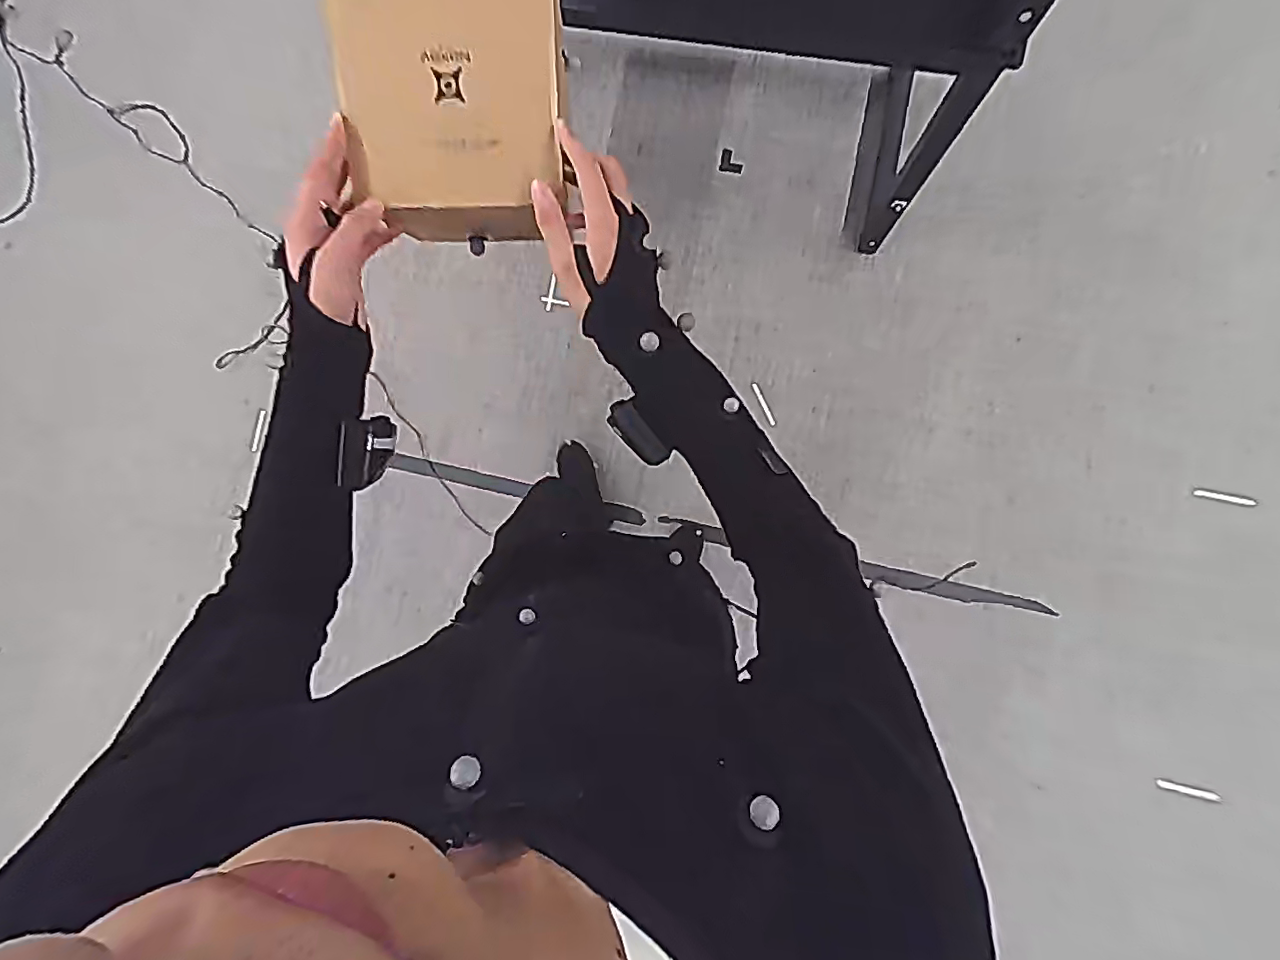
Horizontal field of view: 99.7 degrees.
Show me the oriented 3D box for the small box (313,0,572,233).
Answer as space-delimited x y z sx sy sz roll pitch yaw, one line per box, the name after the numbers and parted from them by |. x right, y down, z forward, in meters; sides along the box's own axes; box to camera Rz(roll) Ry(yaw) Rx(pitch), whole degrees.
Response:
-0.149 -0.323 0.462 0.168 0.176 0.179 -3 104 -2 | small box
